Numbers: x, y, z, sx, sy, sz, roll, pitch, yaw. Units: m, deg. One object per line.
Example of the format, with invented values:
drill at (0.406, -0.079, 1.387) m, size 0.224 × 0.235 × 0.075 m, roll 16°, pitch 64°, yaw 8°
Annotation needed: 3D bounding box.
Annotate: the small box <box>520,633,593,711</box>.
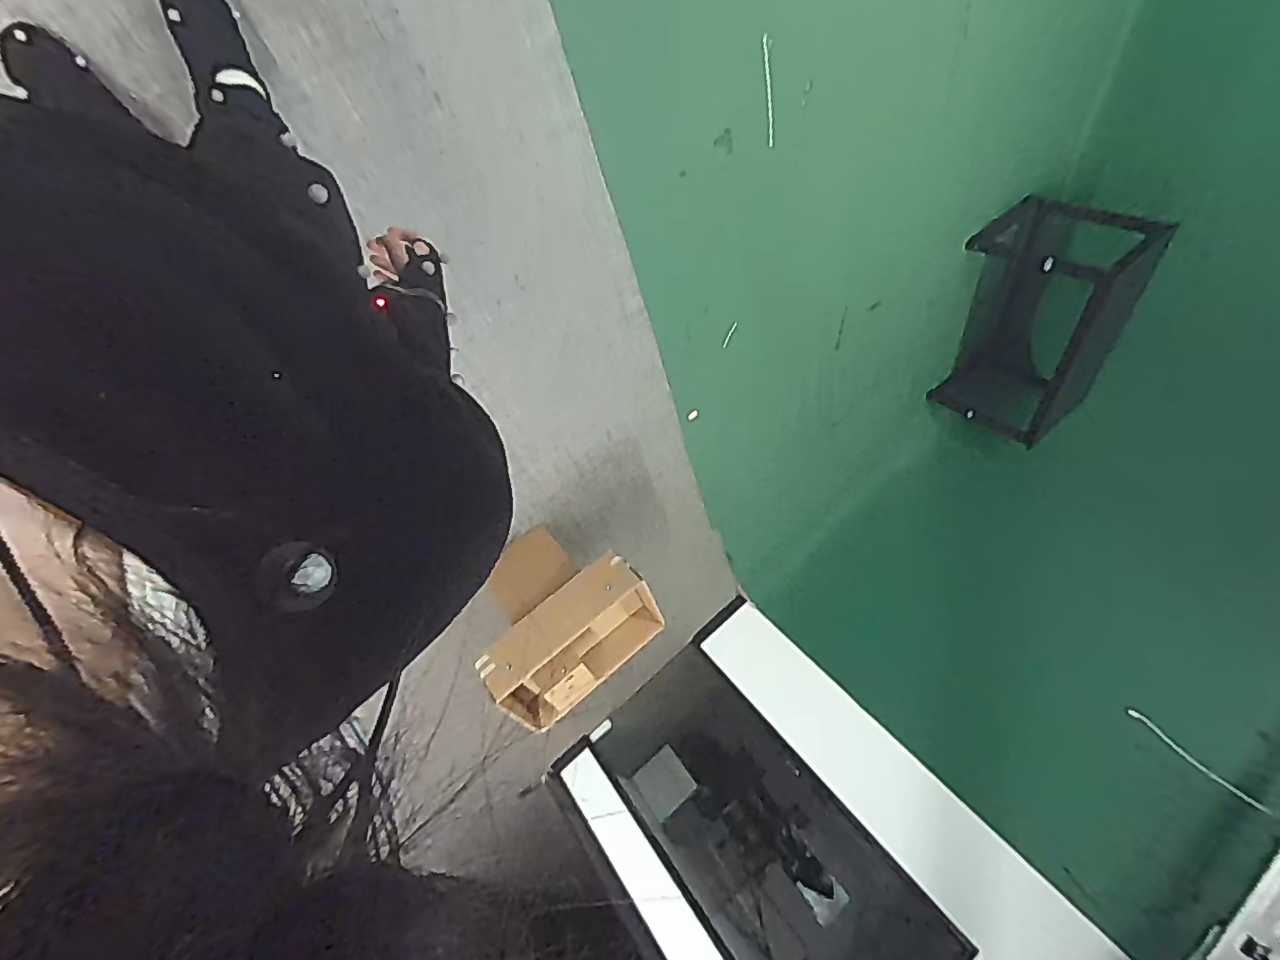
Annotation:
small box at (-0.295, 0.673, 1.907) m, size 0.168 × 0.176 × 0.179 m, roll -38°, pitch 142°, yaw -16°
